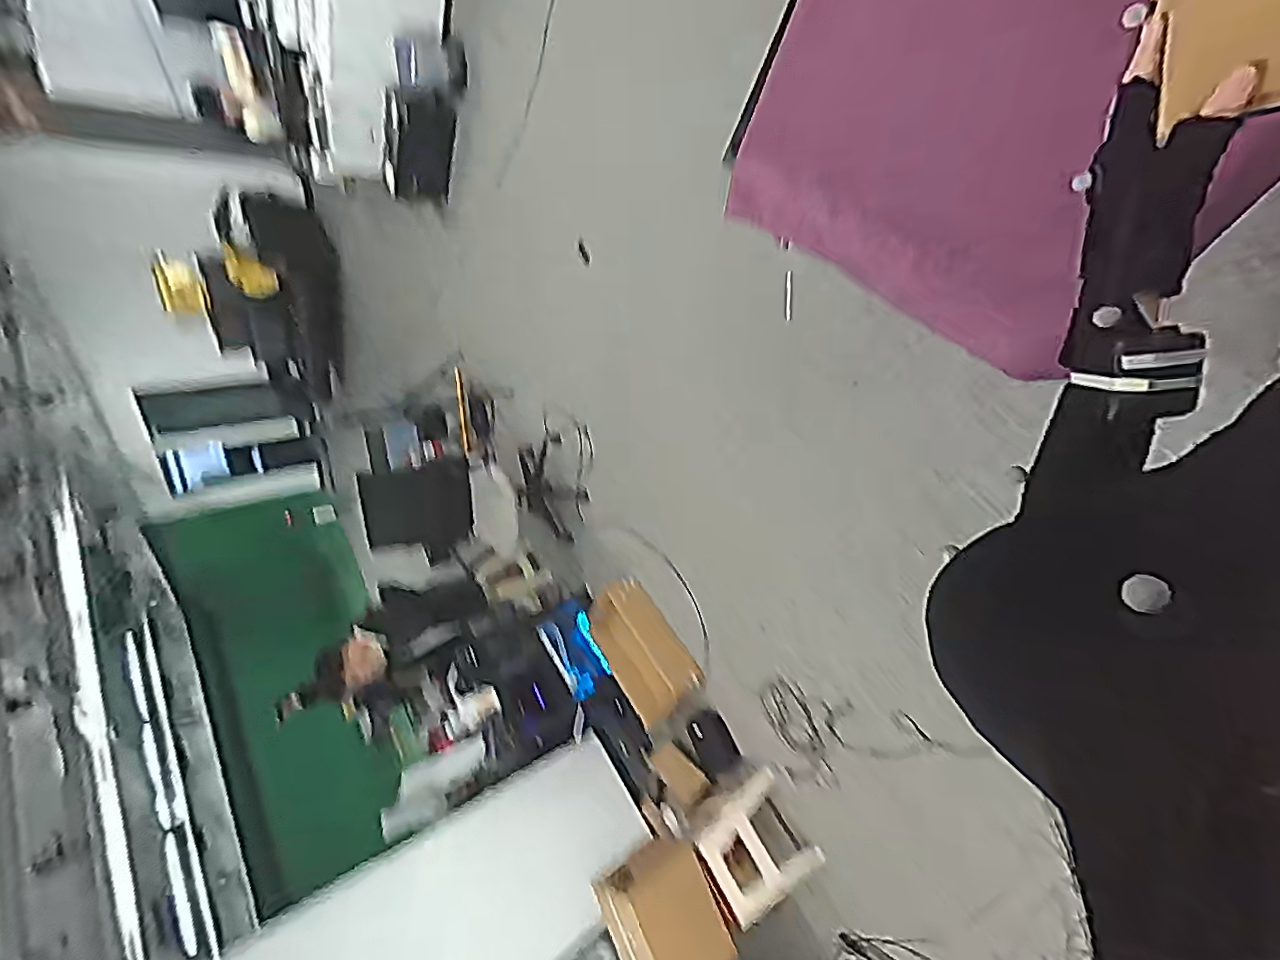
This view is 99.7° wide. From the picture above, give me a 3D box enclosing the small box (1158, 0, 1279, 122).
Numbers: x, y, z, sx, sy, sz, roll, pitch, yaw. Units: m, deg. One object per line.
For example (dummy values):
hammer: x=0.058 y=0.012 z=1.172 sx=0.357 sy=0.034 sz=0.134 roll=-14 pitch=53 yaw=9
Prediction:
small box: x=0.428 y=-0.337 z=0.313 sx=0.168 sy=0.176 sz=0.179 roll=5 pitch=122 yaw=37
